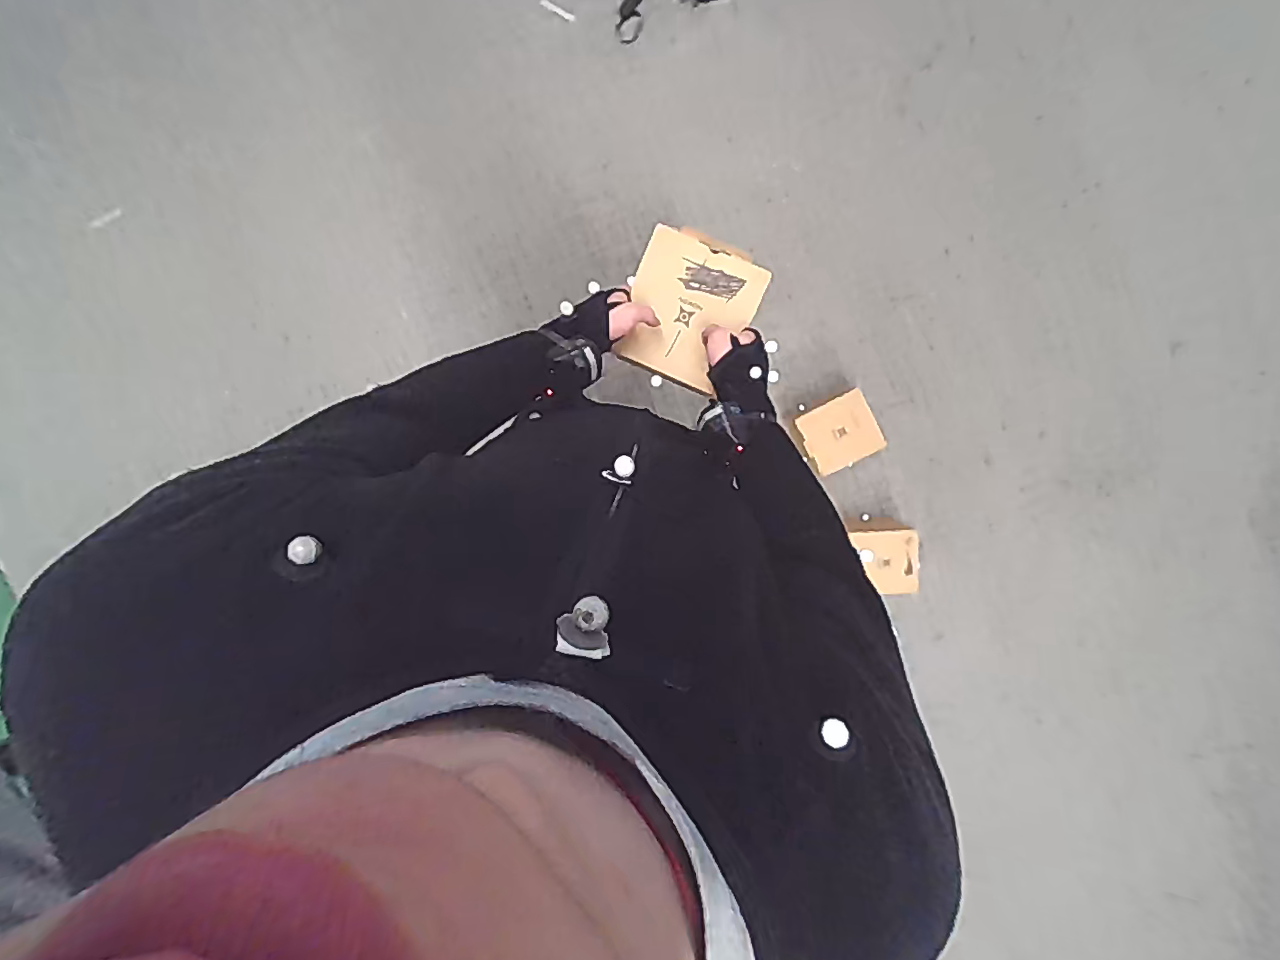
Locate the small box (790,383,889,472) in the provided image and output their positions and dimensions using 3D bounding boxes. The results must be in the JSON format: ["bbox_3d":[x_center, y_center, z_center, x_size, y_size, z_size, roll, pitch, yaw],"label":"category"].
[{"bbox_3d":[0.508,-0.139,1.410,0.179,0.176,0.168,-28,97,7],"label":"small box"}]

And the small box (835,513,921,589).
[{"bbox_3d":[0.629,0.187,1.450,0.179,0.176,0.168,-3,98,6],"label":"small box"}]

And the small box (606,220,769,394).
[{"bbox_3d":[0.064,-0.235,0.780,0.168,0.176,0.179,22,100,1],"label":"small box"}]
